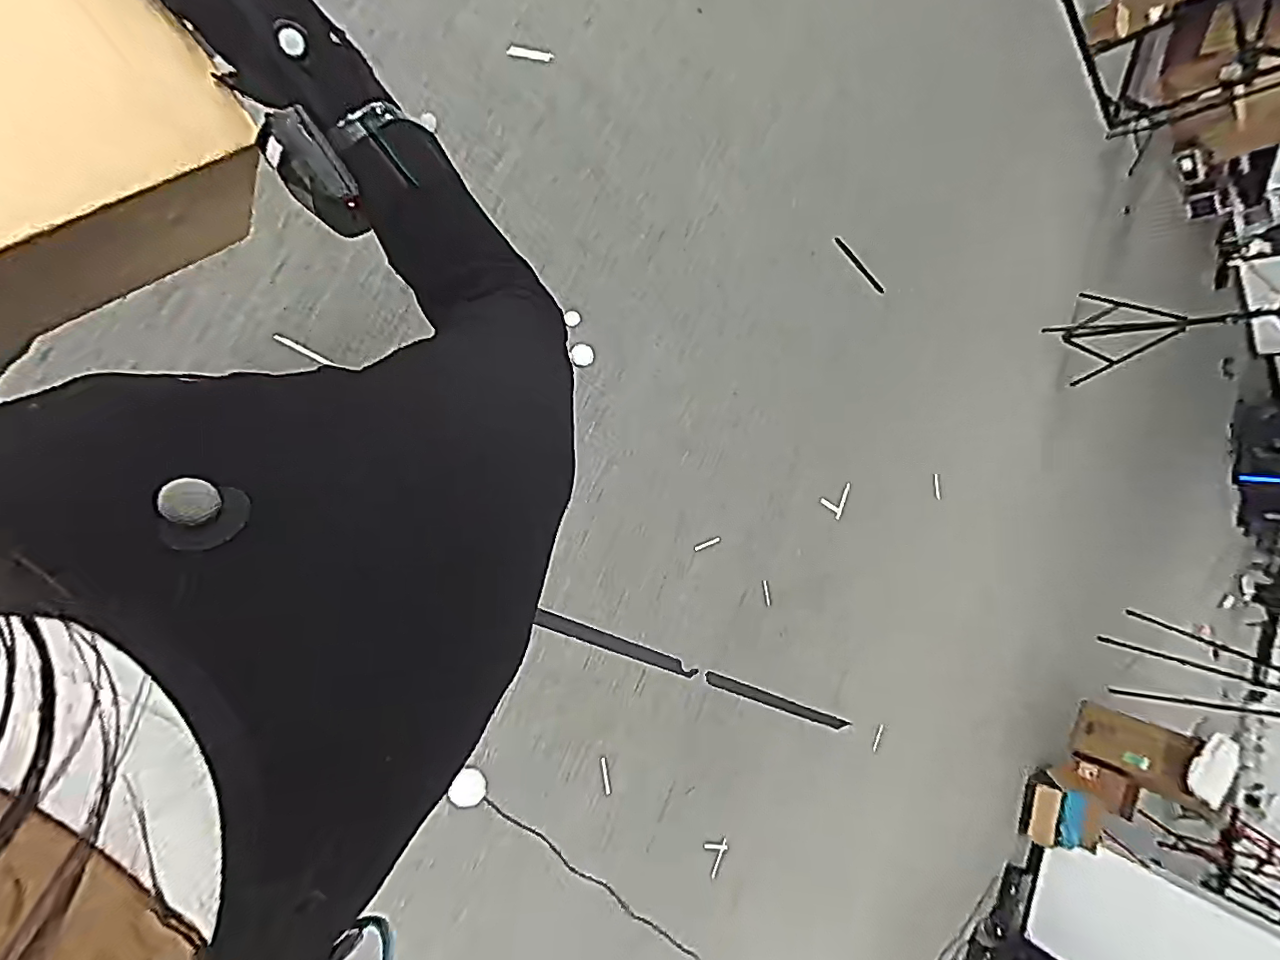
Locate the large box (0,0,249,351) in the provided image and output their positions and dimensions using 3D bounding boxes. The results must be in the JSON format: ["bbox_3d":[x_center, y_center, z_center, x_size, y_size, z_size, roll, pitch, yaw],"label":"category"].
[{"bbox_3d":[-0.536,-0.229,0.312,0.408,0.320,0.320,-45,123,-23],"label":"large box"}]
